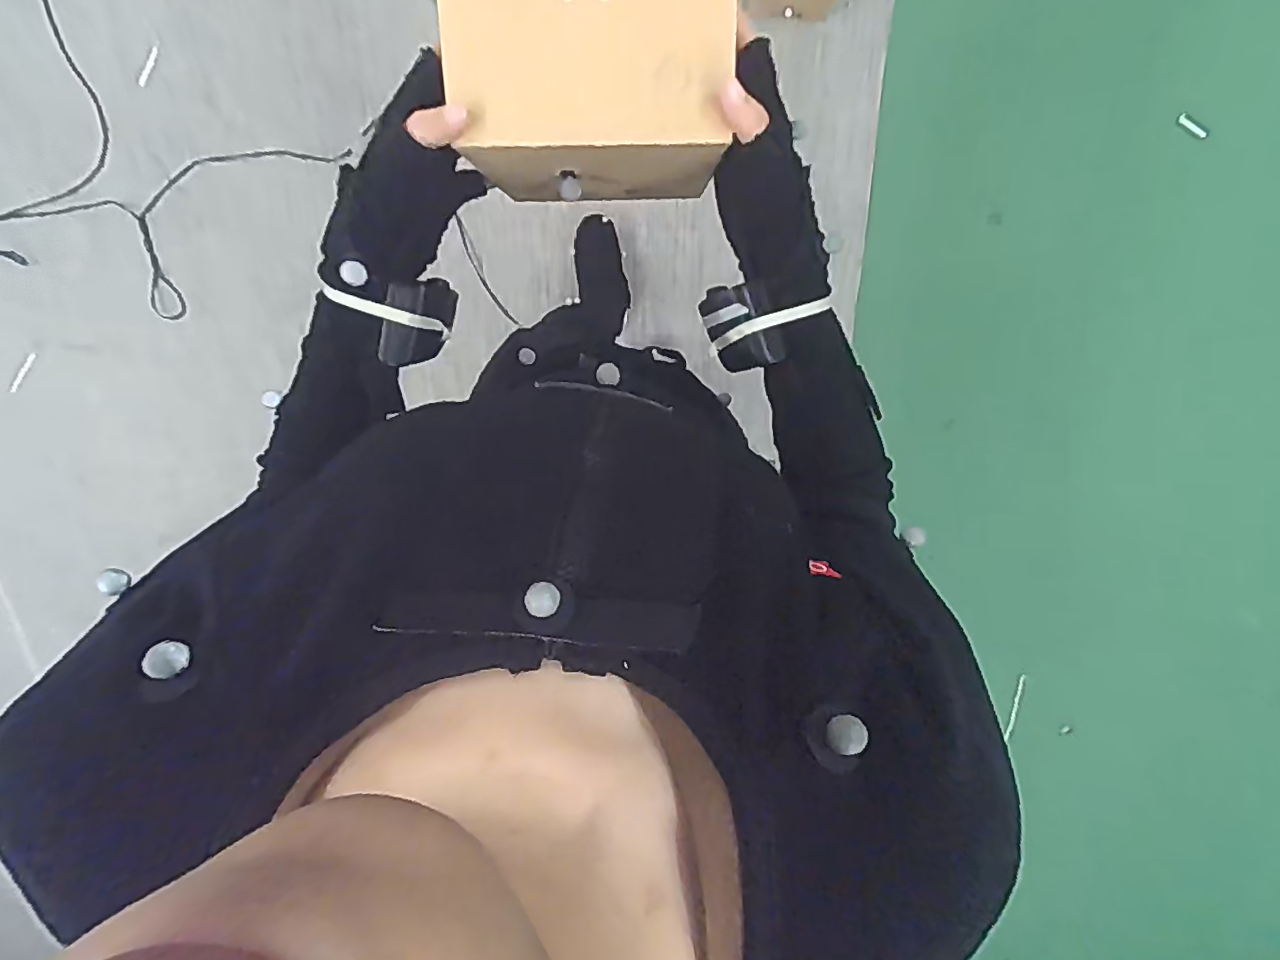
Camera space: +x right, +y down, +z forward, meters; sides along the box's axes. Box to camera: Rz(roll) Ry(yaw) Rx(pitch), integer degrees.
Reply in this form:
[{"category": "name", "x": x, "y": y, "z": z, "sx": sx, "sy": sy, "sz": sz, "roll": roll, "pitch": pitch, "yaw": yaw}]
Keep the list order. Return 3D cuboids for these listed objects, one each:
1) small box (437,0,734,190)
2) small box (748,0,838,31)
[{"category": "small box", "x": -0.029, "y": -0.306, "z": 0.364, "sx": 0.168, "sy": 0.176, "sz": 0.179, "roll": -1, "pitch": 105, "yaw": 0}, {"category": "small box", "x": 0.316, "y": -1.044, "z": 1.076, "sx": 0.168, "sy": 0.176, "sz": 0.179, "roll": 5, "pitch": 108, "yaw": 0}]
